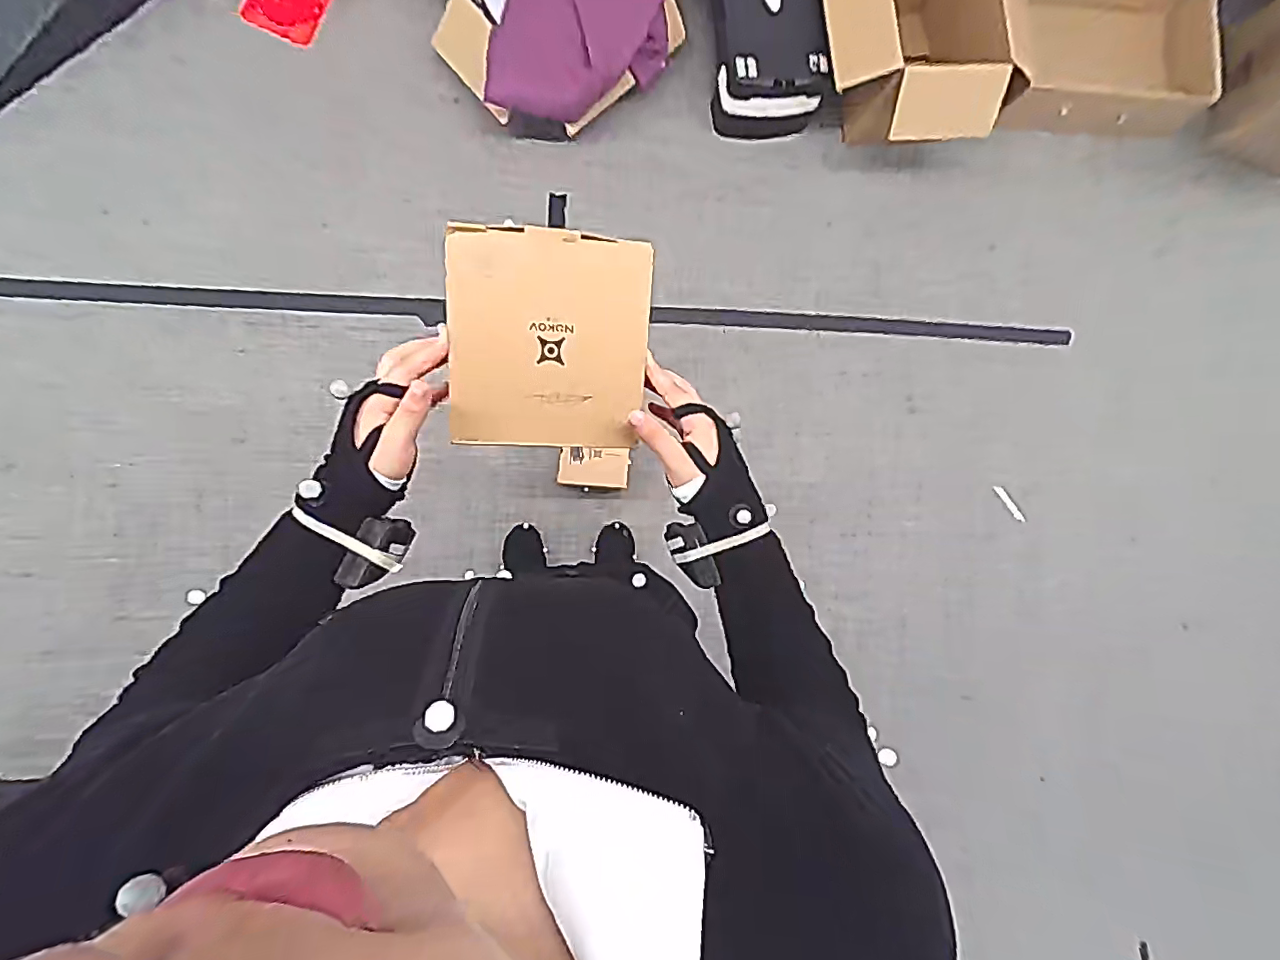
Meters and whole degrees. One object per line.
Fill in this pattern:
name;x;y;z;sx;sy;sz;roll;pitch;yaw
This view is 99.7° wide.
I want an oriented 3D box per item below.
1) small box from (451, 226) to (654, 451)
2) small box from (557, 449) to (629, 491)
small box;-0.089;-0.134;0.528;0.168;0.176;0.179;1;108;-11
small box;-0.124;-0.061;1.440;0.179;0.176;0.168;5;87;-7
